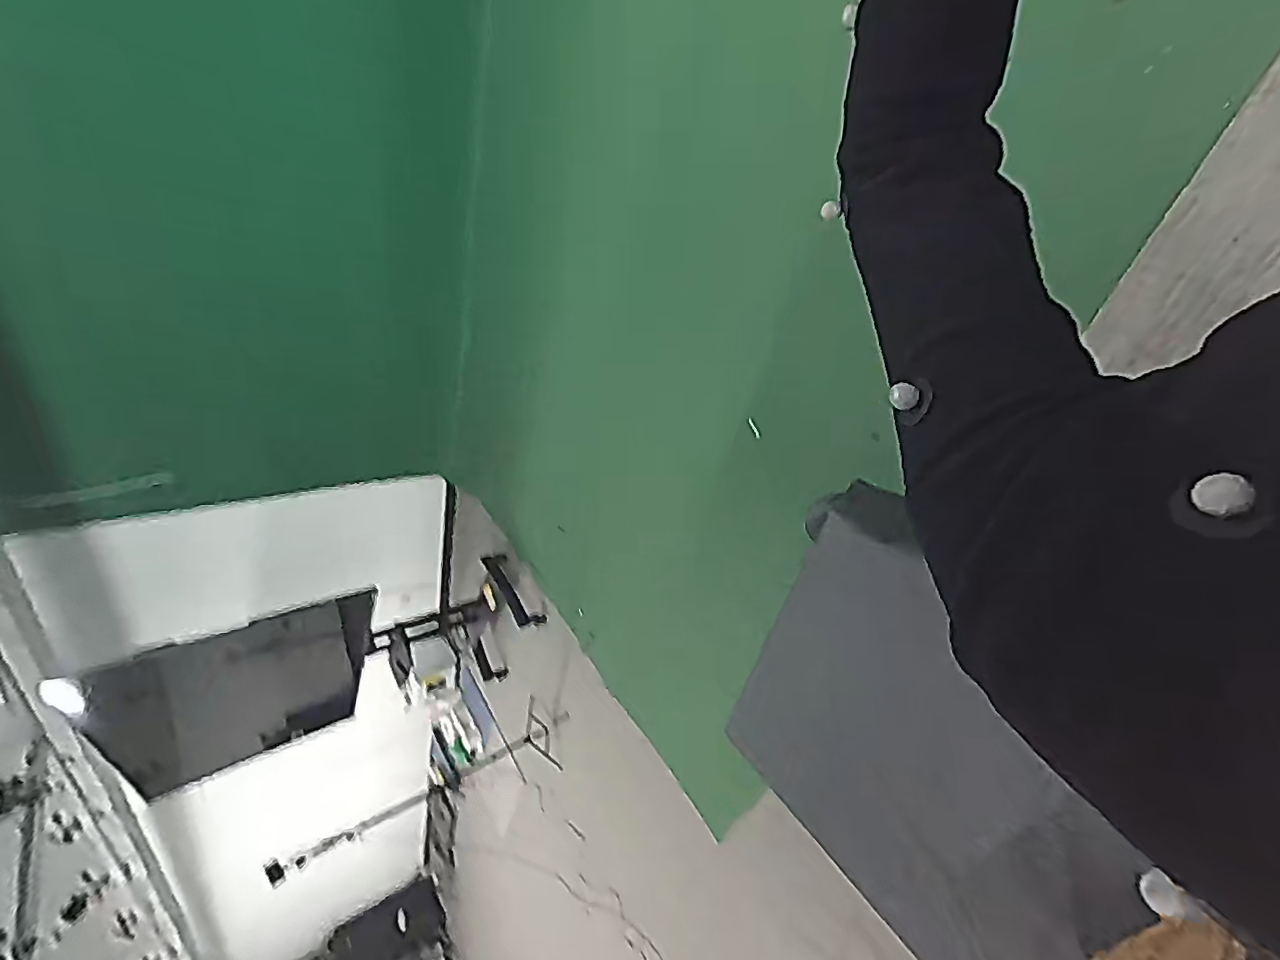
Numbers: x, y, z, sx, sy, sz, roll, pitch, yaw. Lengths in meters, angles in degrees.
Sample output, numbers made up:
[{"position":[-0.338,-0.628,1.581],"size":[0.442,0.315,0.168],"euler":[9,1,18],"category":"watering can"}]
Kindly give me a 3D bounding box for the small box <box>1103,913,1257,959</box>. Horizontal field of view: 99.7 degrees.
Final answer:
[{"position":[0.592,0.602,0.552],"size":[0.168,0.176,0.179],"euler":[43,130,37],"category":"small box"}]
